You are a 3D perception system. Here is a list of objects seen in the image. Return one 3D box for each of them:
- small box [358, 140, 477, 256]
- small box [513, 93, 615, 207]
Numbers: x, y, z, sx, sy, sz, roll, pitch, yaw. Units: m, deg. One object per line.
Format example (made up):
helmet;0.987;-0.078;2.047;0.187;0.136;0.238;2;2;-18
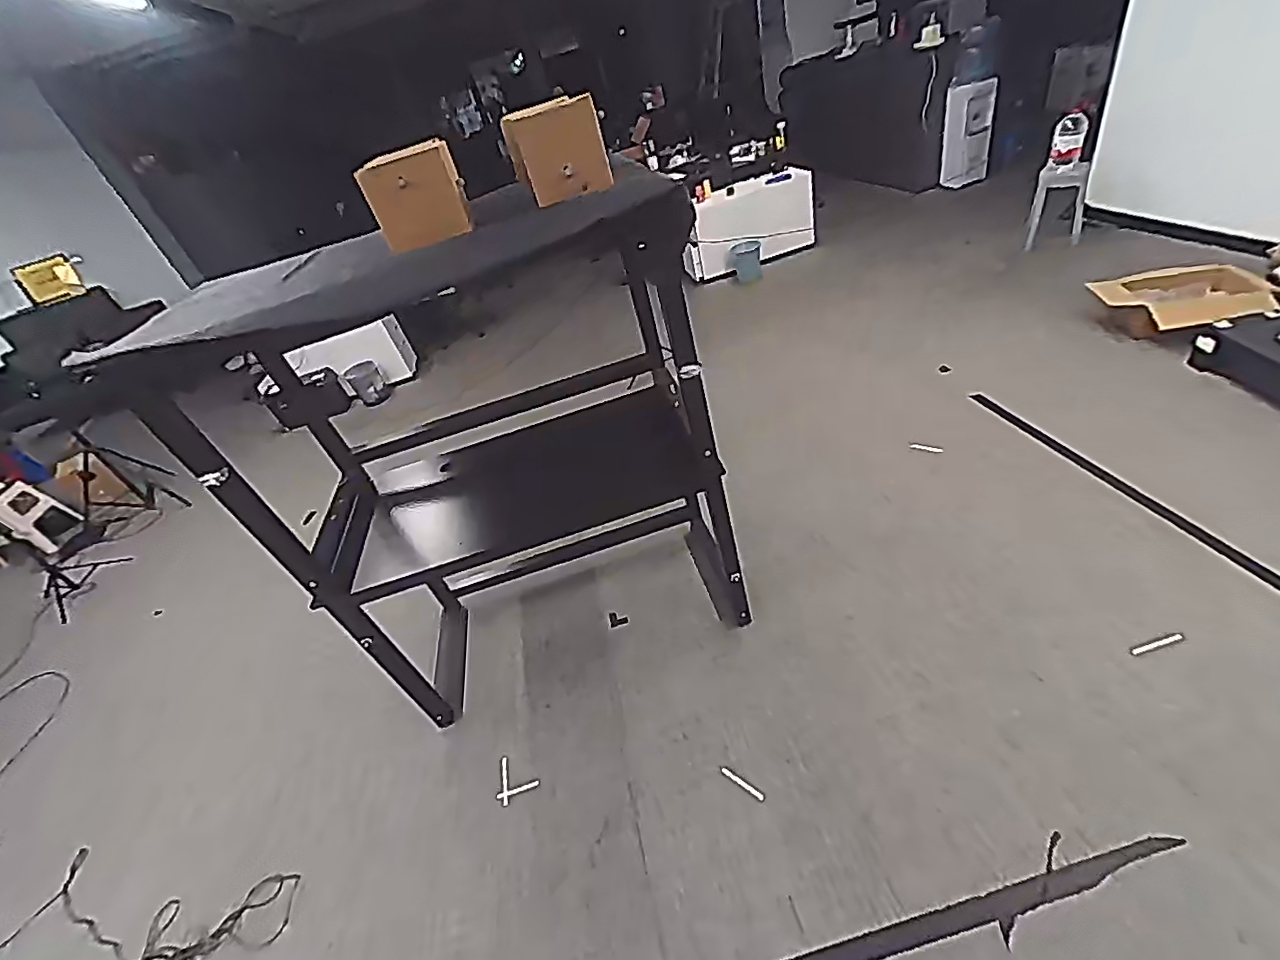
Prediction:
small box;-0.466;-0.608;1.166;0.179;0.176;0.168;-19;37;-1
small box;-0.156;-0.706;1.161;0.168;0.176;0.179;-14;37;5
